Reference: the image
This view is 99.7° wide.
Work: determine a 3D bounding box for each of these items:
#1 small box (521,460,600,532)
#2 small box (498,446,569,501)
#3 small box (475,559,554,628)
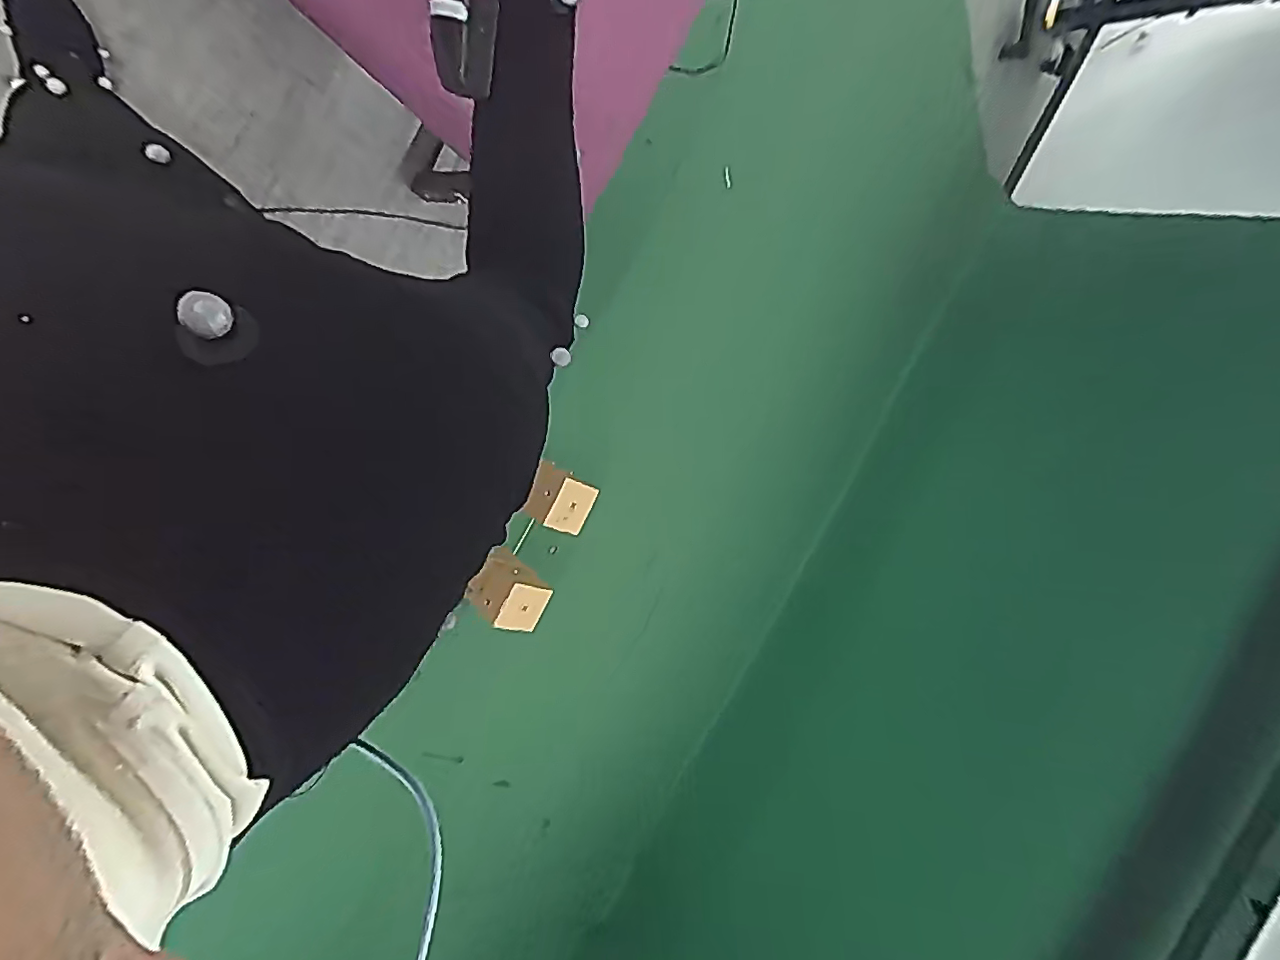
[{"bbox_3d":[-0.275,0.050,1.842,0.168,0.176,0.179,25,93,-49],"label":"small box"},{"bbox_3d":[-0.382,-0.007,1.954,0.179,0.176,0.168,25,93,-50],"label":"small box"},{"bbox_3d":[-0.438,0.389,1.870,0.179,0.176,0.168,26,93,-48],"label":"small box"}]
